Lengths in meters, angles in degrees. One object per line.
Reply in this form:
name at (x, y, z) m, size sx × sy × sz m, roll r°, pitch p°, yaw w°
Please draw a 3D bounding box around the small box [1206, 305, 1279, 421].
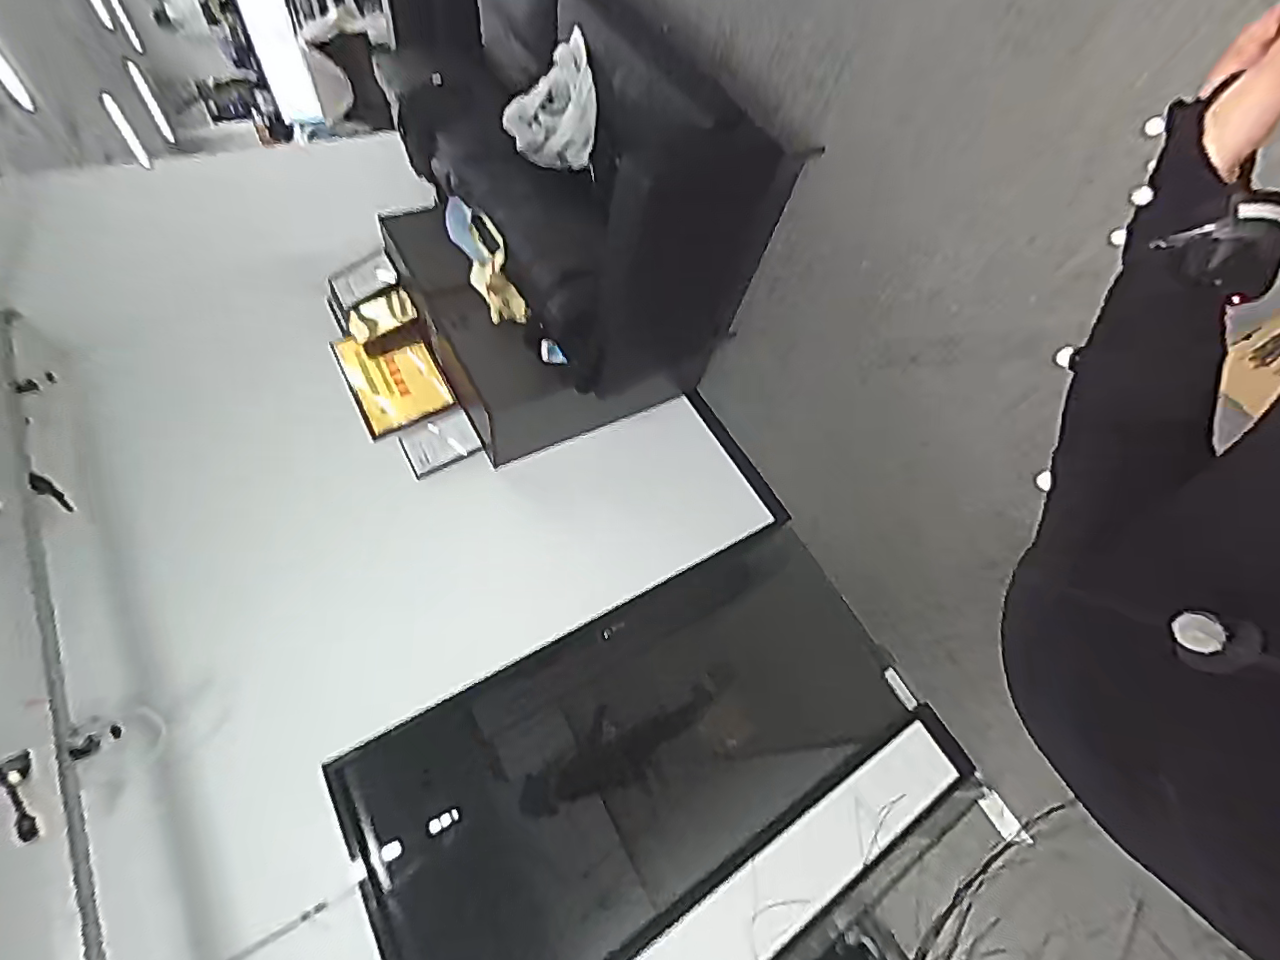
small box at (1.177, -0.234, 0.942) m, size 0.179 × 0.176 × 0.168 m, roll 57°, pitch 156°, yaw 19°
